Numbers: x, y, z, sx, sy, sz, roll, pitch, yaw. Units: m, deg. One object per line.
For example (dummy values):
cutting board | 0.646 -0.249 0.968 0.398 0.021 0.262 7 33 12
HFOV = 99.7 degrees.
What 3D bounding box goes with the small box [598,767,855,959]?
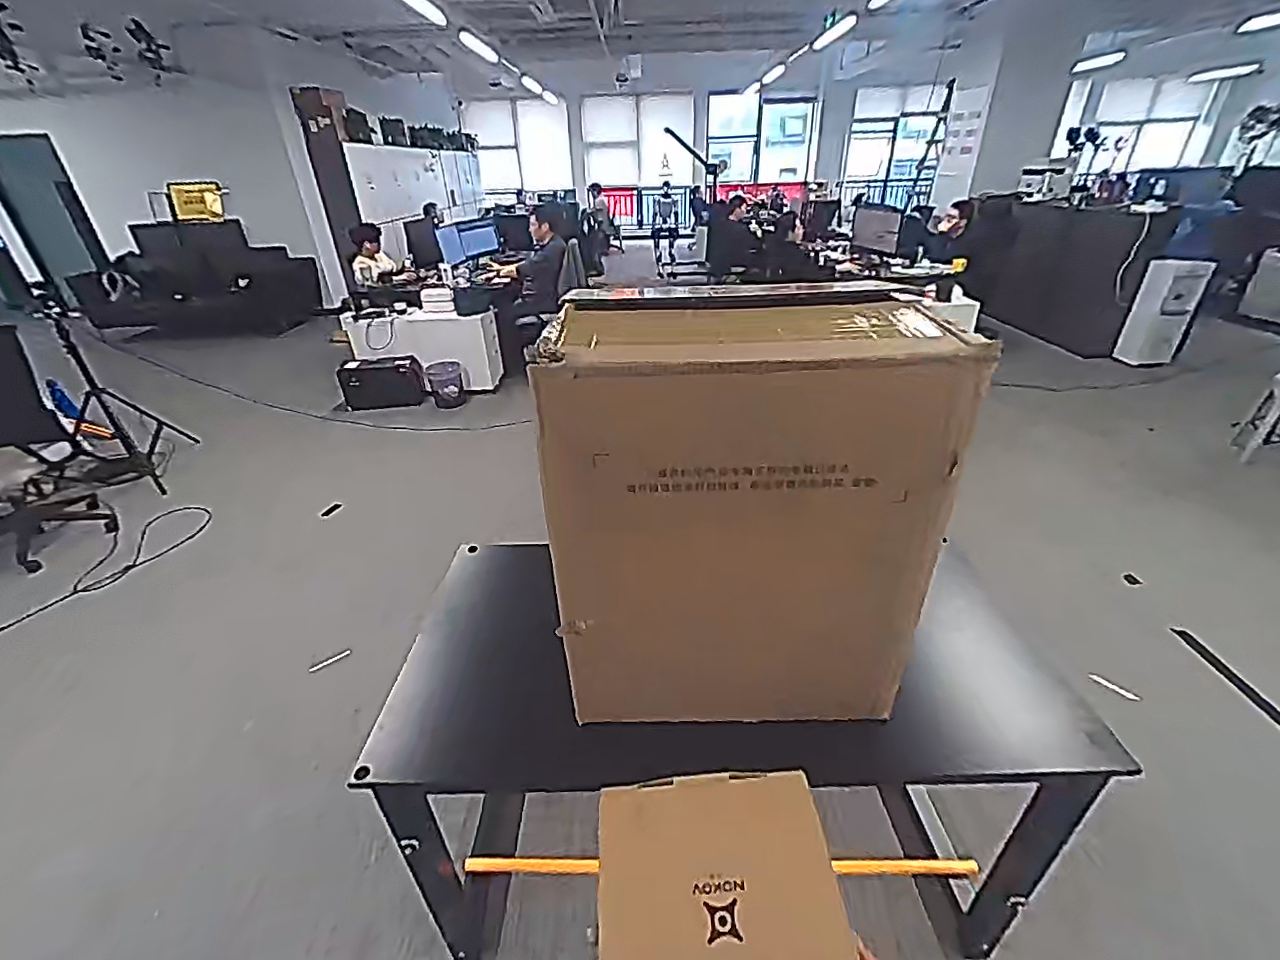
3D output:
small box | 0.057 0.351 0.411 0.168 0.176 0.179 -5 37 -1
